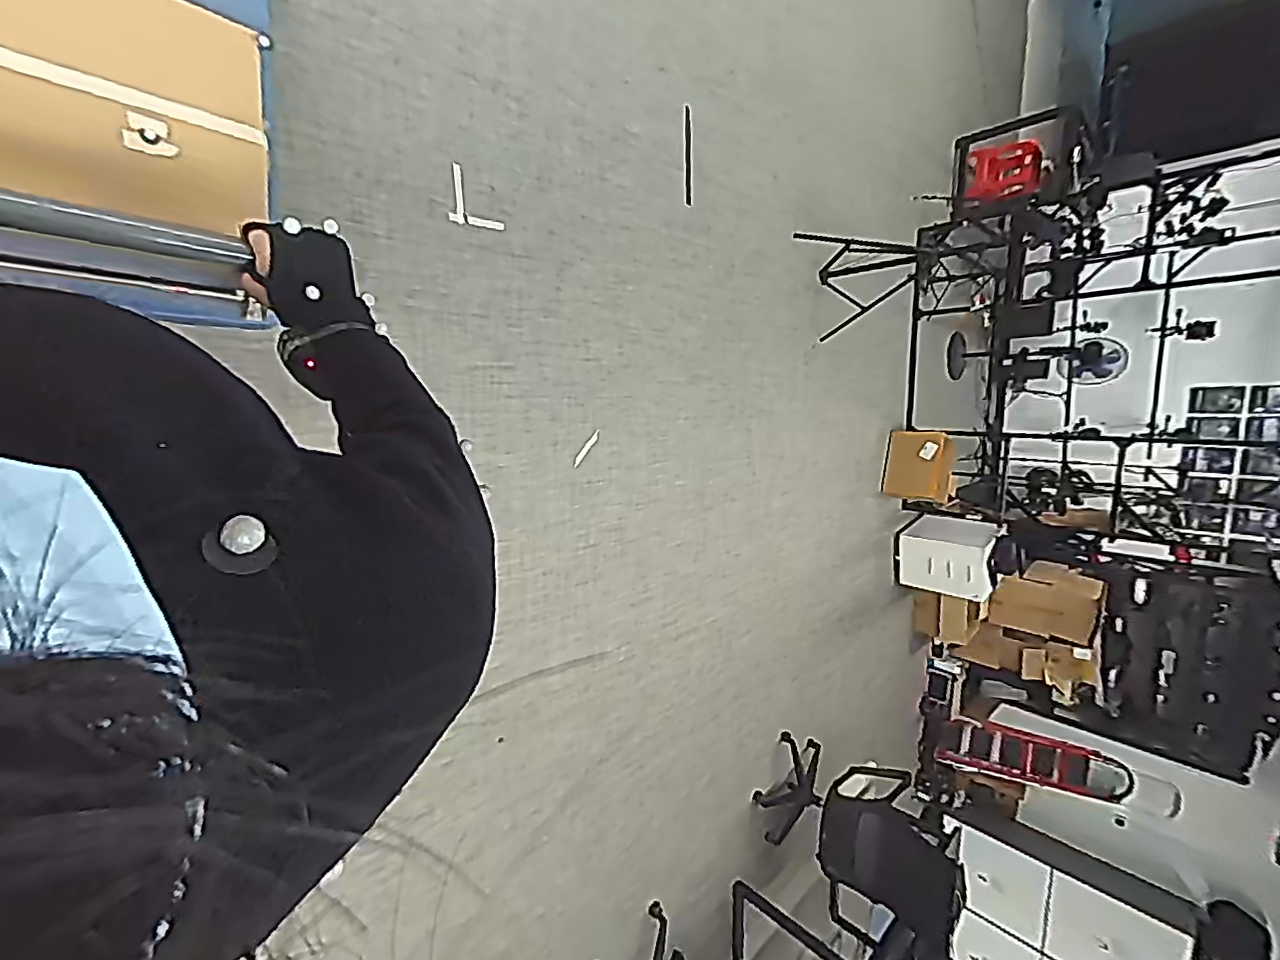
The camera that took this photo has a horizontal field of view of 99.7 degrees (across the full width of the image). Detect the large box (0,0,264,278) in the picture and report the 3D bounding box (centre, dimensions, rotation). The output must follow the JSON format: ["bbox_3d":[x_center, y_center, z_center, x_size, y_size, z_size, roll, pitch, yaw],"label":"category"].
[{"bbox_3d":[-0.840,-0.518,0.802,0.408,0.320,0.320,-4,99,-46],"label":"large box"}]
